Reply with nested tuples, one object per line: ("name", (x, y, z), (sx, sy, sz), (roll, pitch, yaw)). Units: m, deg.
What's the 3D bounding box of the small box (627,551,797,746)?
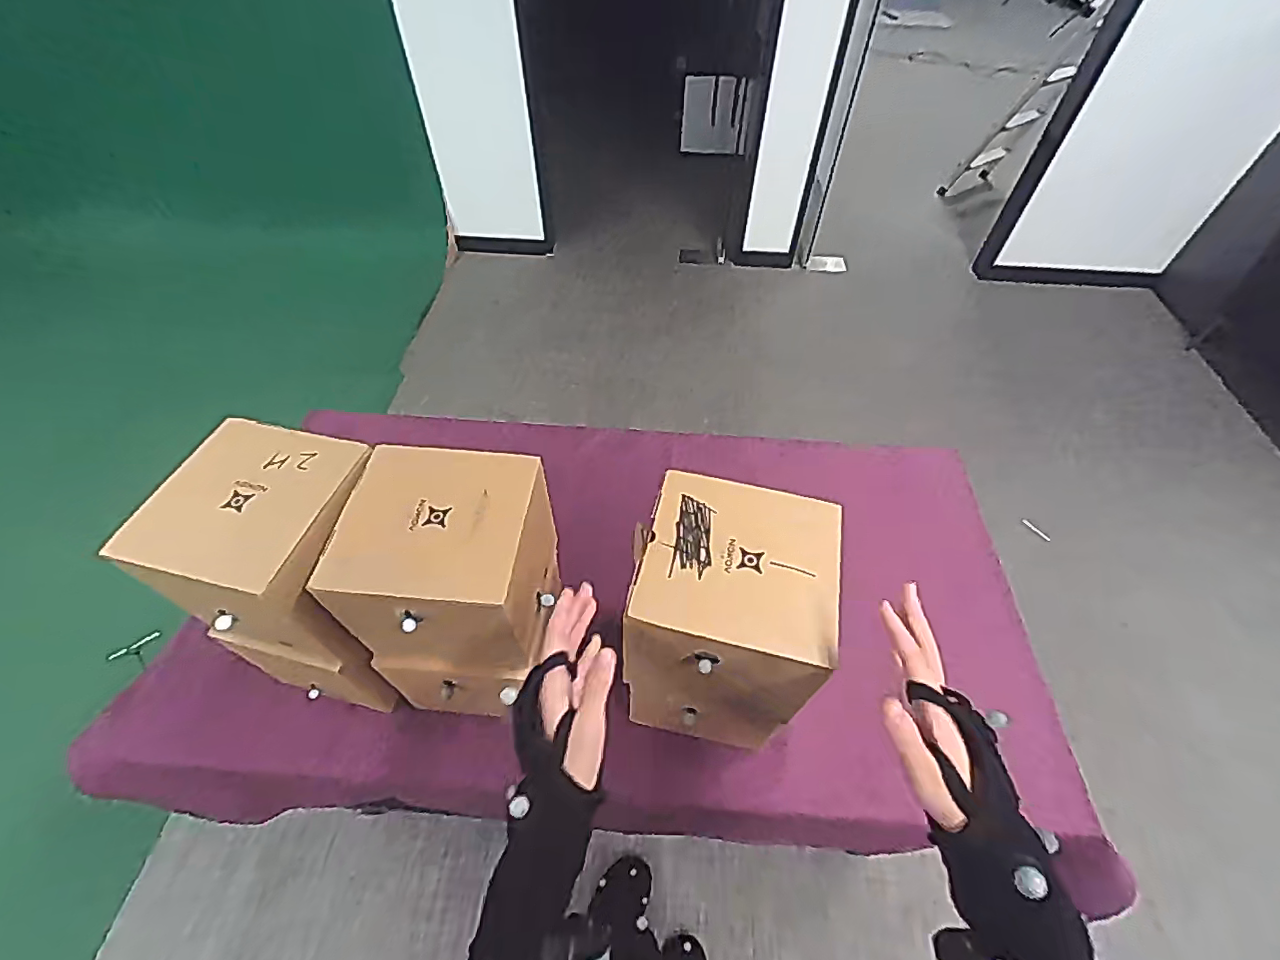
("small box", (0.087, 0.213, 0.674), (0.179, 0.176, 0.168), (10, 52, 7))
